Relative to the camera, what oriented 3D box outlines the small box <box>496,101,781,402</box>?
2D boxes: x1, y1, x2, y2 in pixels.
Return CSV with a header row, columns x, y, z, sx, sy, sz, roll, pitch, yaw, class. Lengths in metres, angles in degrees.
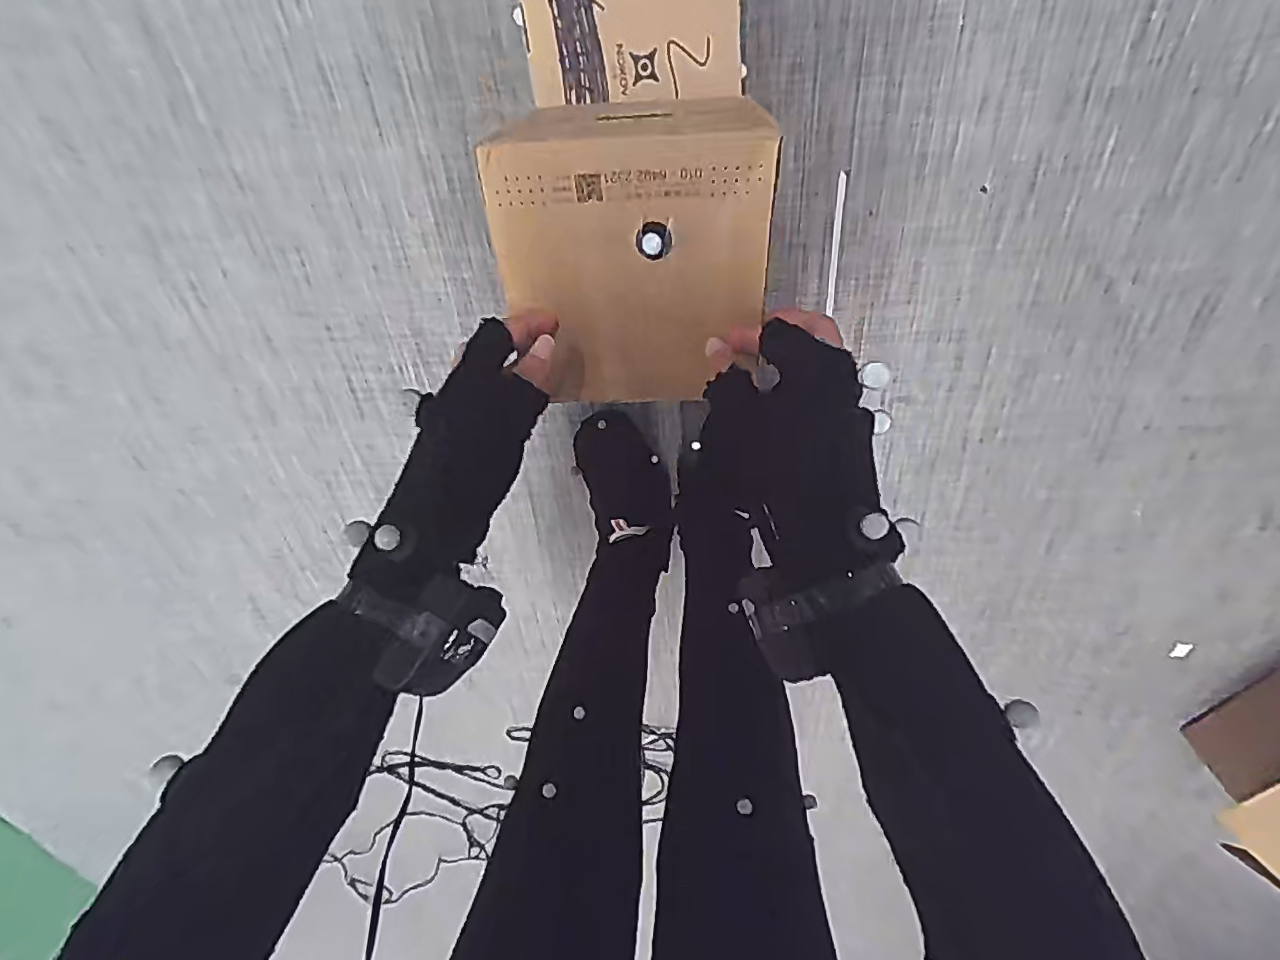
x,y,z,sx,sy,sz,roll,pitch,yaw,class
0.006,-0.176,0.407,0.168,0.179,0.176,1,130,5,small box
